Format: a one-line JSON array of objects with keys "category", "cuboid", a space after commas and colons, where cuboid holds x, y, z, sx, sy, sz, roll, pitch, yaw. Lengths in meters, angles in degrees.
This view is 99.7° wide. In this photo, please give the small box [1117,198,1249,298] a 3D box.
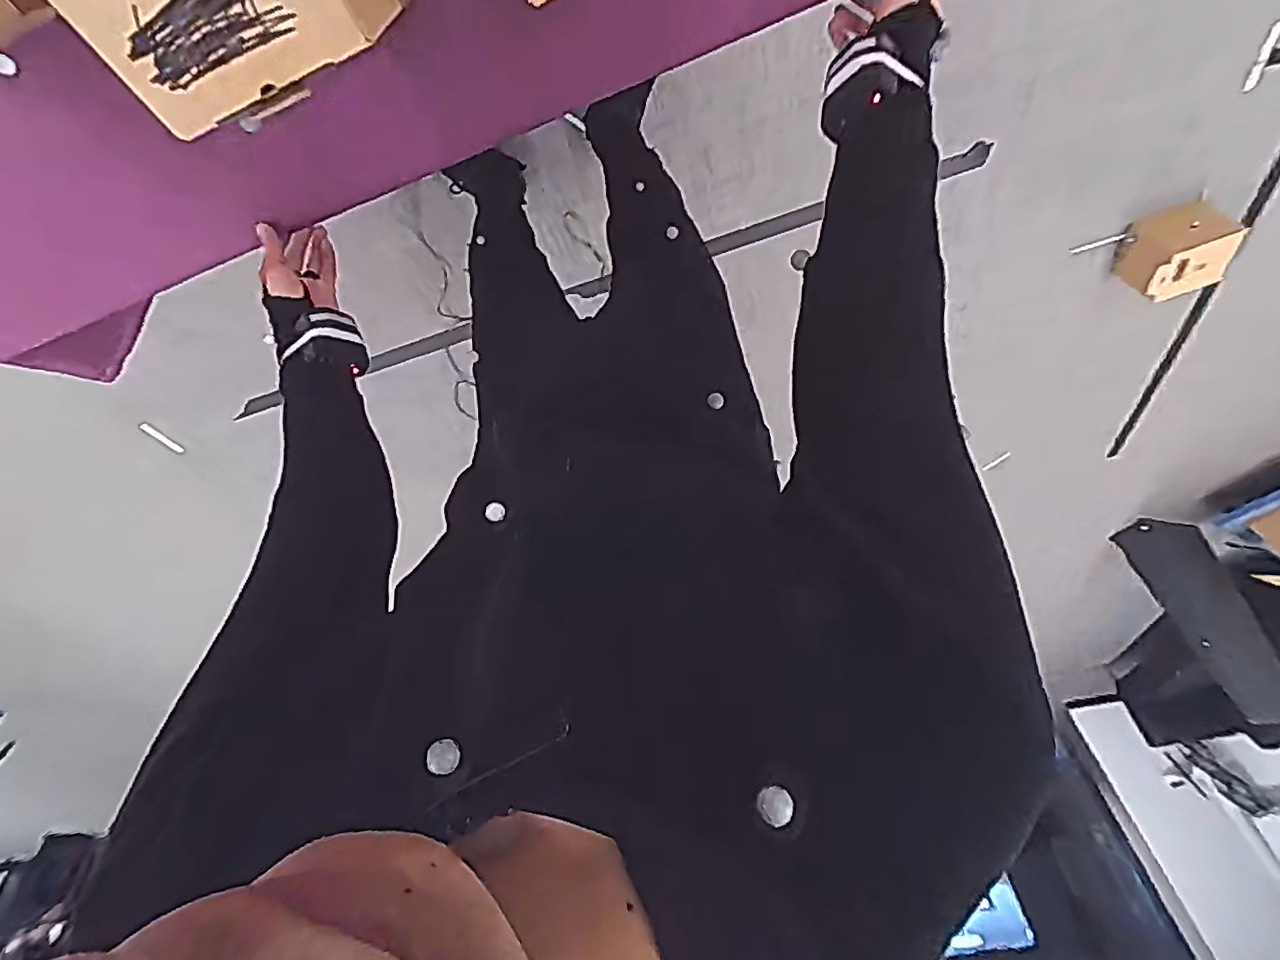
[{"category": "small box", "cuboid": [1.500, -0.649, 1.512, 0.179, 0.176, 0.168, -18, 141, 11]}]

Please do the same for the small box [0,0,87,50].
[{"category": "small box", "cuboid": [-0.533, -0.368, 0.341, 0.168, 0.176, 0.179, -16, 140, 11]}]
